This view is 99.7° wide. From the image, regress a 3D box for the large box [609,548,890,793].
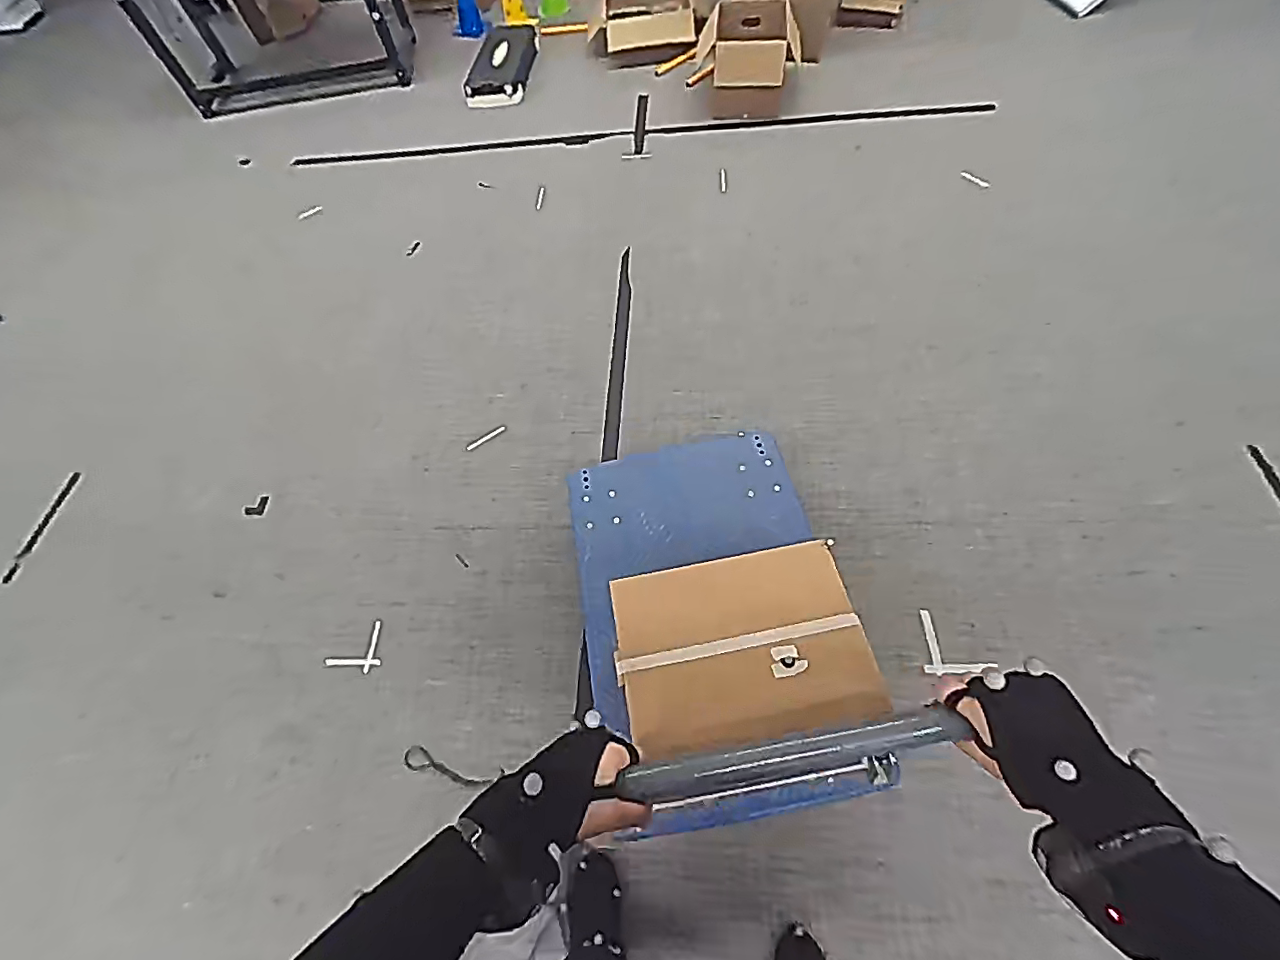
[{"bbox_3d":[0.174,0.367,1.019,0.408,0.320,0.320,-10,57,-1],"label":"large box"}]
